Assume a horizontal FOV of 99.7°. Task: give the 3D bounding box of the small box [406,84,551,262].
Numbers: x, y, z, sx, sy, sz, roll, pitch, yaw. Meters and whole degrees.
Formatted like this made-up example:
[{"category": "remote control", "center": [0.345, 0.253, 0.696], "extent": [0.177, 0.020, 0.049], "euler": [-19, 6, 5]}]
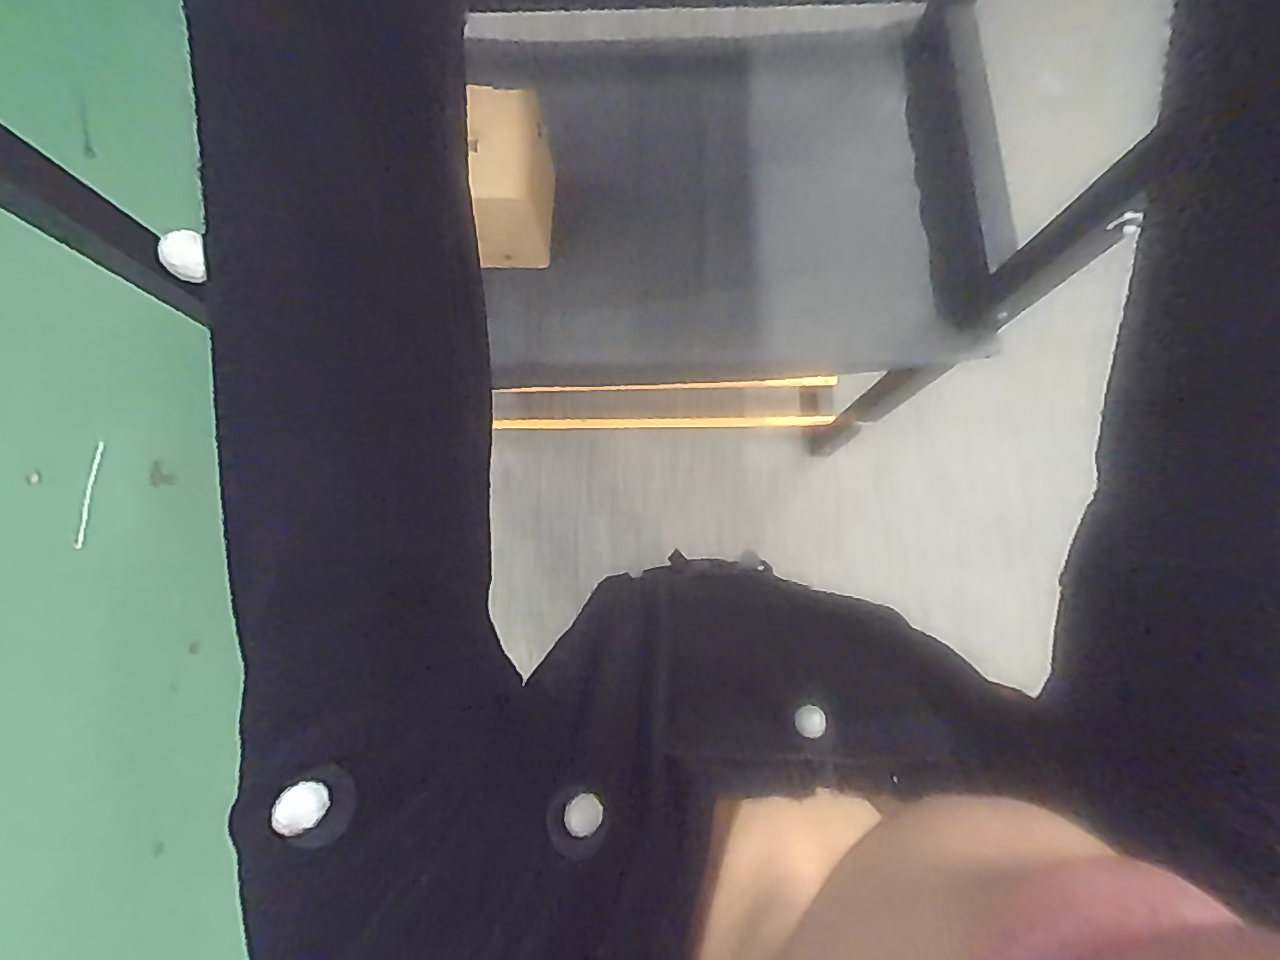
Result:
[{"category": "small box", "center": [-0.231, -0.453, 0.818], "extent": [0.168, 0.176, 0.179], "euler": [1, 78, 0]}]
